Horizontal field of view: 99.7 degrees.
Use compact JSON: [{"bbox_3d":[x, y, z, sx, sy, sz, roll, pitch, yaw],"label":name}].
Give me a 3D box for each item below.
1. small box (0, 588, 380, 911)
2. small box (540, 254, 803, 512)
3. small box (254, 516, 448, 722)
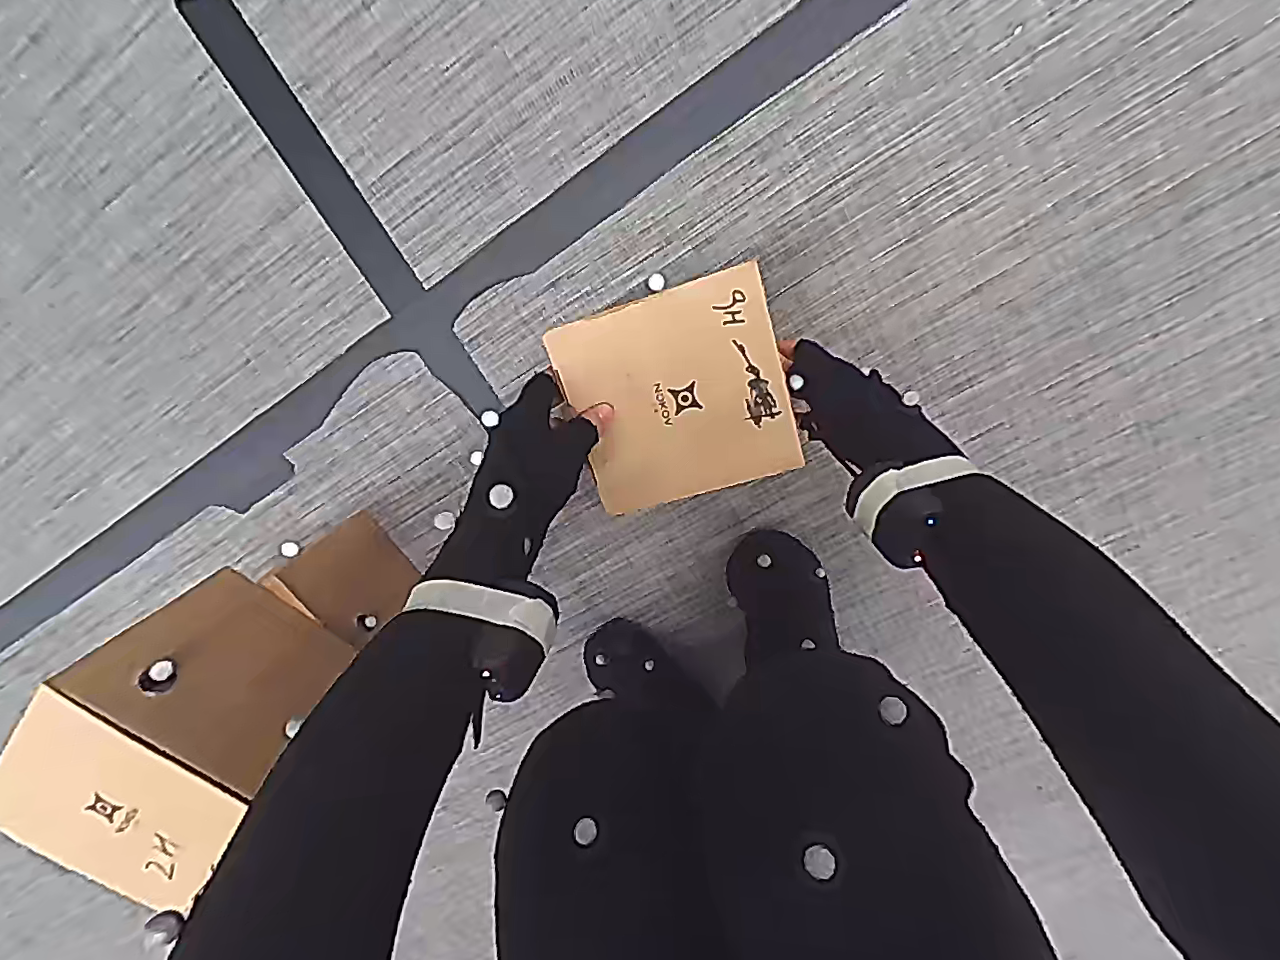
[{"bbox_3d":[-0.382,0.224,0.486,0.179,0.176,0.168,42,108,-14],"label":"small box"},{"bbox_3d":[0.037,-0.093,0.507,0.179,0.176,0.168,-18,106,13],"label":"small box"},{"bbox_3d":[-0.364,0.174,0.643,0.168,0.176,0.179,-31,105,13],"label":"small box"}]
